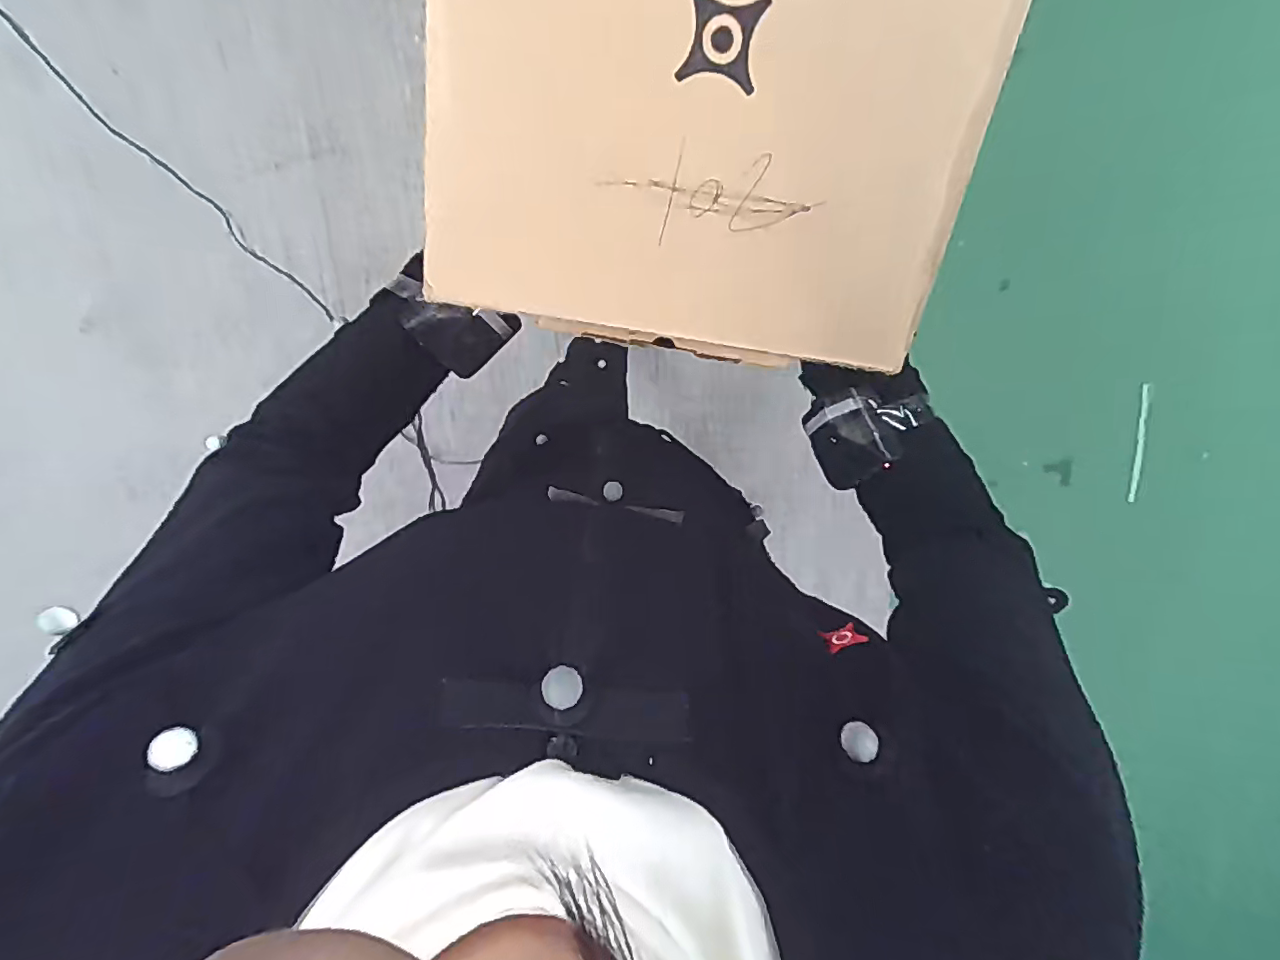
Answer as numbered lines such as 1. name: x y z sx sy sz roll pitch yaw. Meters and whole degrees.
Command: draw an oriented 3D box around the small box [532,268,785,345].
1. small box: 0.023 -0.209 0.389 0.168 0.176 0.179 7 114 -3
